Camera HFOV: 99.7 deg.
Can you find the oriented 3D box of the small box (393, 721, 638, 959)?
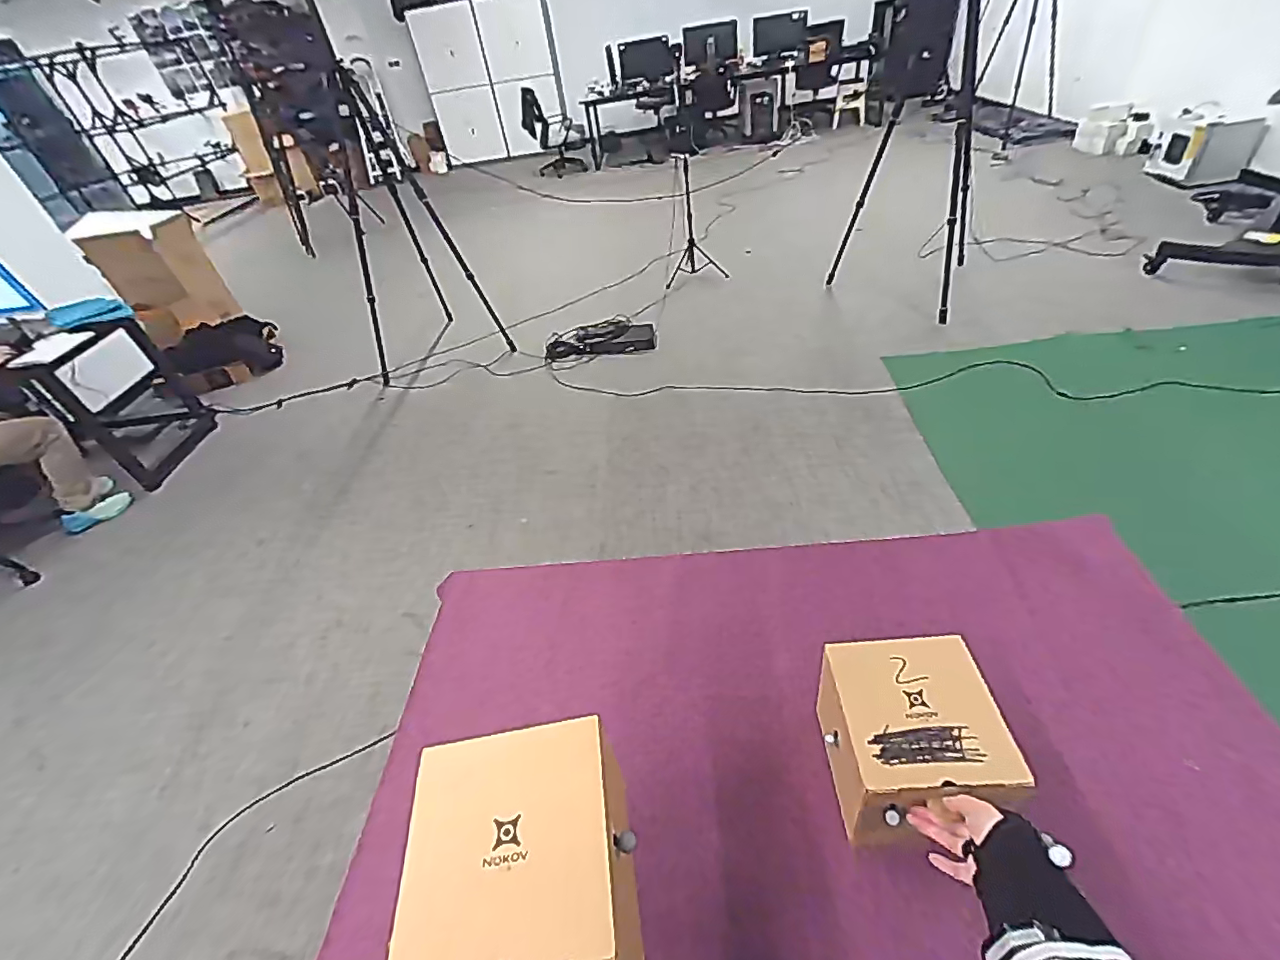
[{"bbox_3d":[-0.100,0.356,0.499,0.168,0.176,0.179,-11,42,-1],"label":"small box"}]
